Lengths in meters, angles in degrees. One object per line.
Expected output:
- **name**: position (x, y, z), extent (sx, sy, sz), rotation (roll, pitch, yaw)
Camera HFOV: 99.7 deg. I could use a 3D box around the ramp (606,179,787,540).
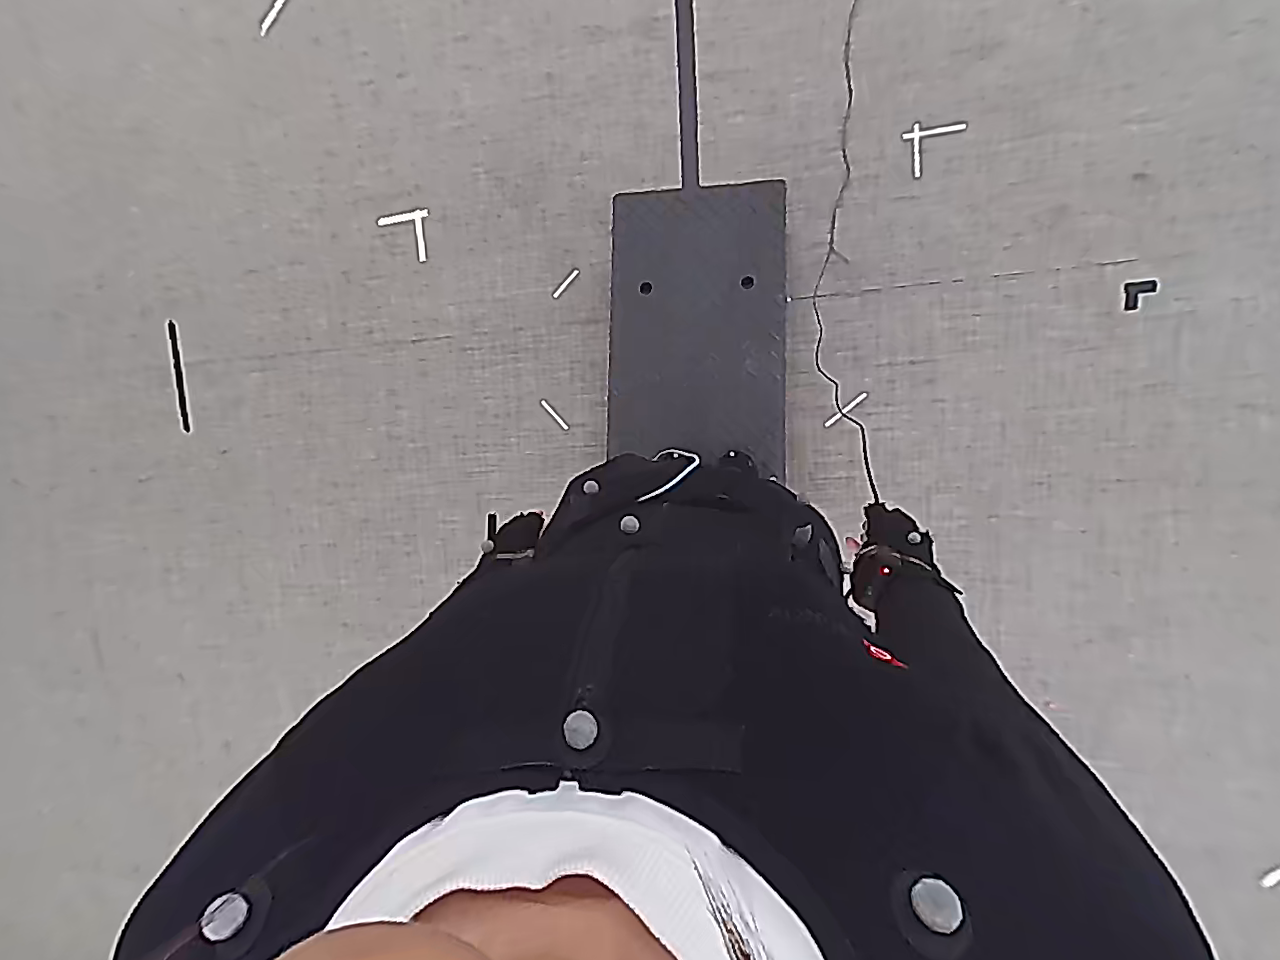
- **ramp**: position (0.151, -0.337, 1.499), extent (0.509, 0.206, 0.991), rotation (-1, 95, 12)
